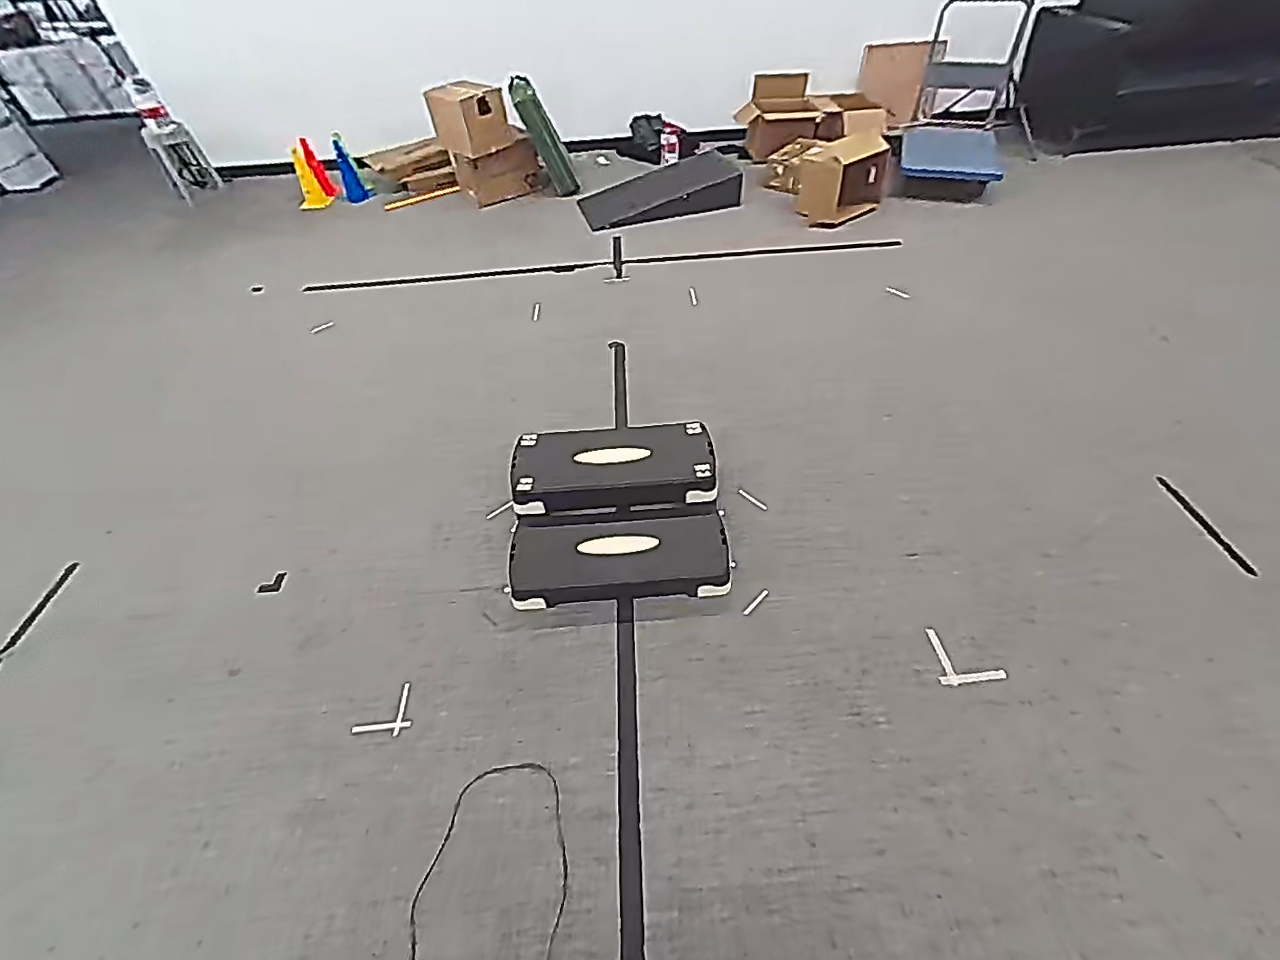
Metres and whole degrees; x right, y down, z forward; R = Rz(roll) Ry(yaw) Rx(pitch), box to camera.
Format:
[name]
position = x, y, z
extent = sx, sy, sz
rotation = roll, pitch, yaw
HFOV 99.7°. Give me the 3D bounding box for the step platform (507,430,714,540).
[step platform]
position = -0.096, 0.010, 1.818
extent = 0.684, 0.204, 0.286
rotation = -4, 49, -1
